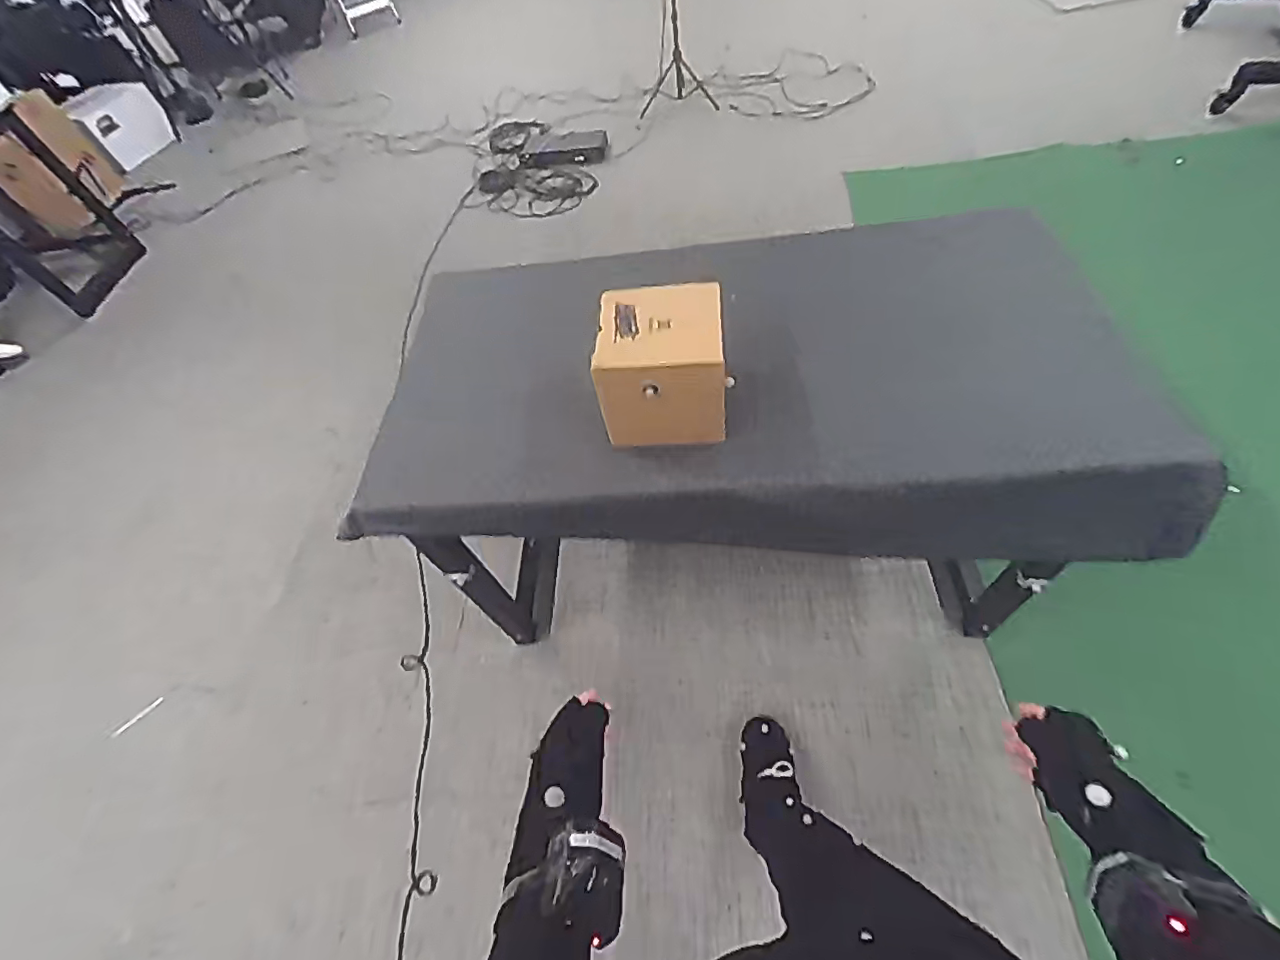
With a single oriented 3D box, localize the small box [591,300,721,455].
[{"bbox_3d":[0.034,-0.151,0.831,0.179,0.176,0.168,-2,55,8],"label":"small box"}]
